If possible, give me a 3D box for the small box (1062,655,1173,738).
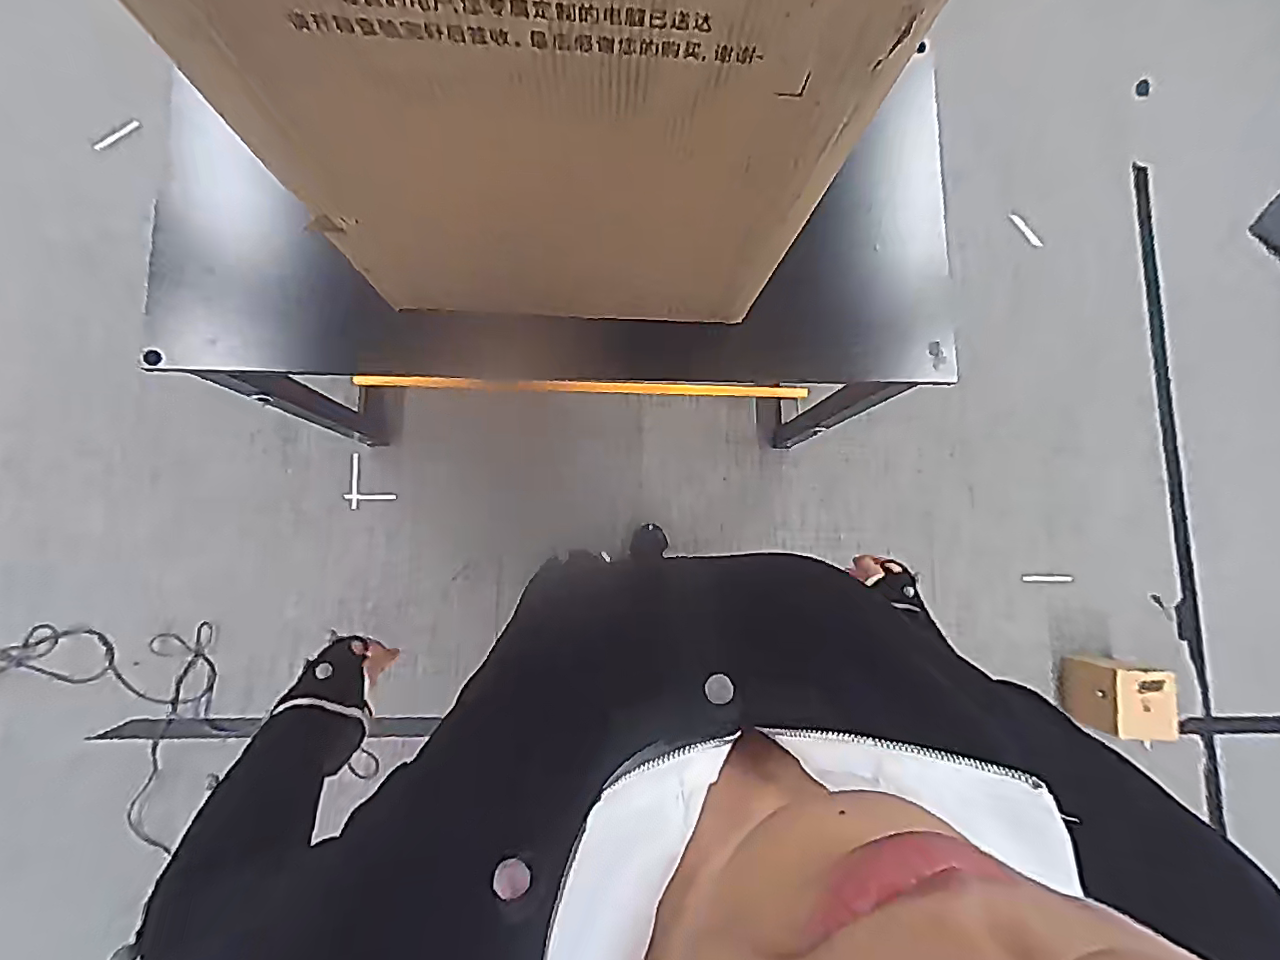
[{"bbox_3d":[1.305,0.588,1.489,0.168,0.176,0.179,3,85,-4],"label":"small box"}]
